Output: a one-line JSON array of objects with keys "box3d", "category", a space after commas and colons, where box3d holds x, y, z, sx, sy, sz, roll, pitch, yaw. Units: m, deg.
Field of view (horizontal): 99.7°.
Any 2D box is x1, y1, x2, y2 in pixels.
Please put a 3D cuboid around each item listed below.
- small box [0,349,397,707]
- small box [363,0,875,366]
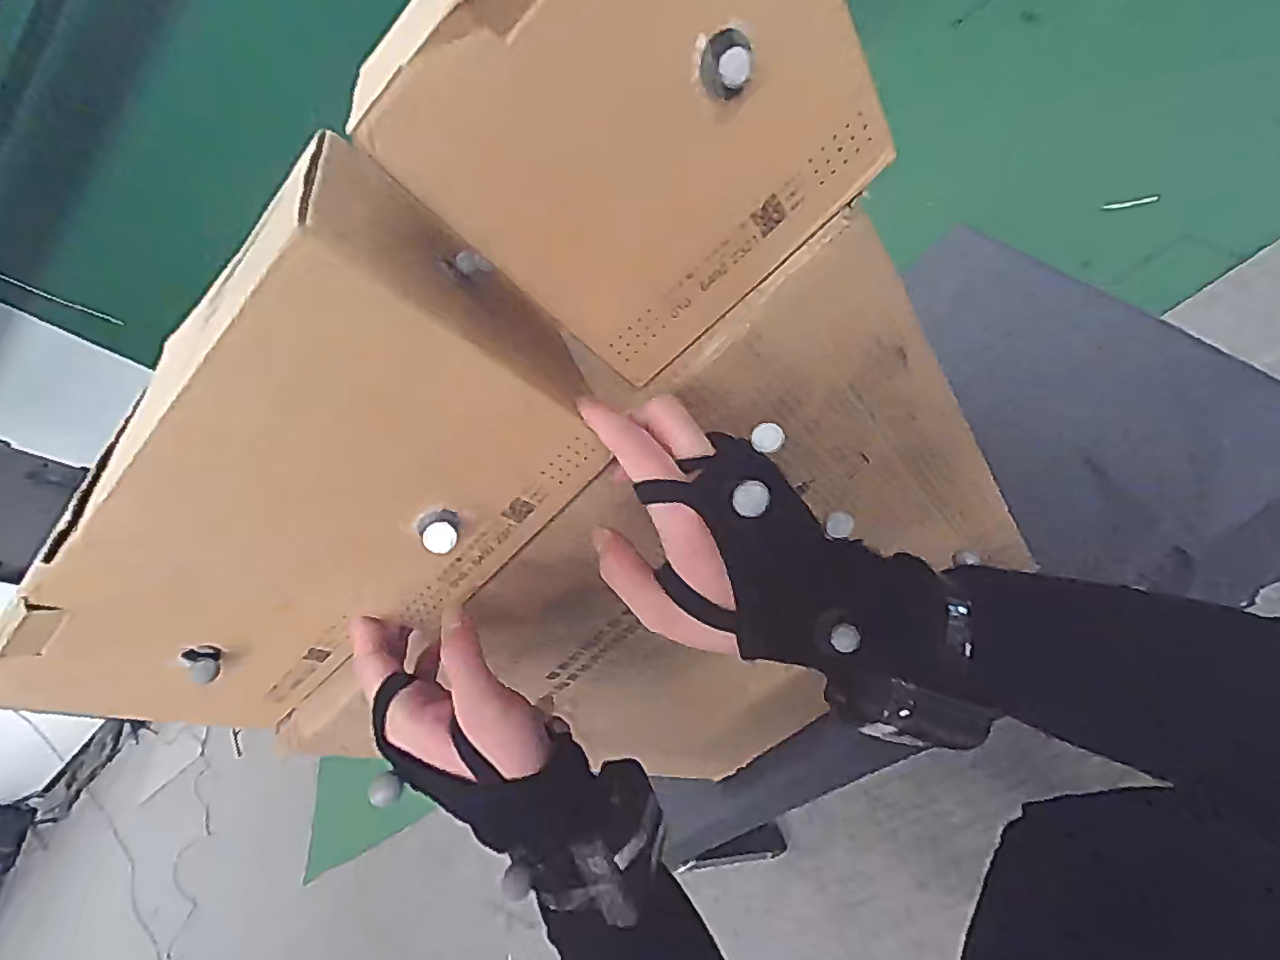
[{"box3d": [-0.297, 0.047, 0.393, 0.168, 0.176, 0.179, -41, 46, 17], "category": "small box"}, {"box3d": [-0.013, -0.186, 0.279, 0.168, 0.176, 0.179, -39, 45, 14], "category": "small box"}]
